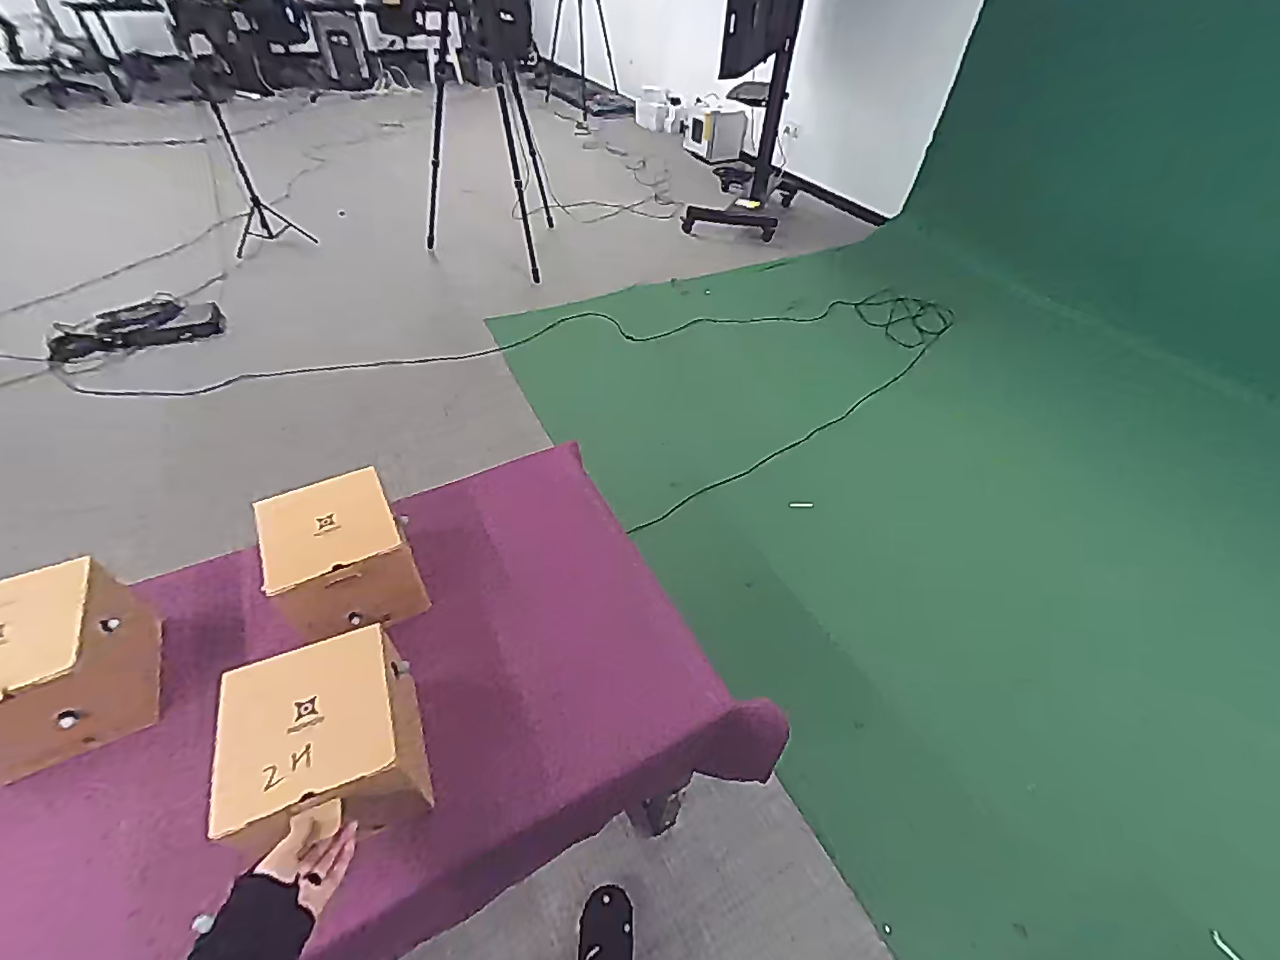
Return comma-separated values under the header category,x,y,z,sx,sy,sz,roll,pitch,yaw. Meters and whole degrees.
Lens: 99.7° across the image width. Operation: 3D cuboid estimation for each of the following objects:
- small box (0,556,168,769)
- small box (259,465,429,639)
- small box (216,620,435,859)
category,x,y,z,sx,sy,sz,roll,pitch,yaw
small box,-0.738,0.234,0.680,0.168,0.176,0.179,-19,50,-22
small box,-0.437,0.113,0.813,0.168,0.176,0.179,-22,52,-22
small box,-0.354,0.302,0.634,0.168,0.176,0.179,-17,49,-17
